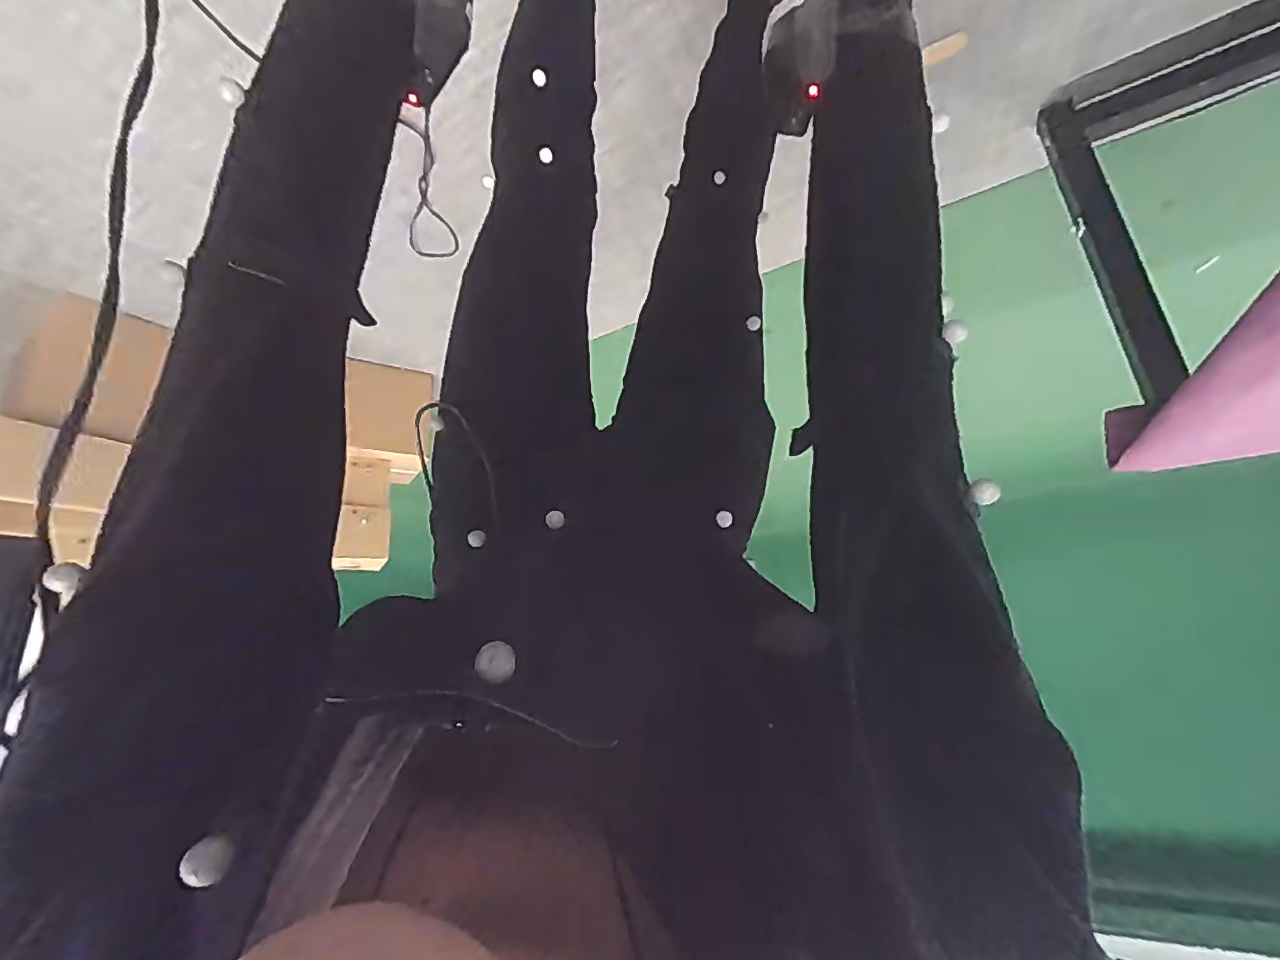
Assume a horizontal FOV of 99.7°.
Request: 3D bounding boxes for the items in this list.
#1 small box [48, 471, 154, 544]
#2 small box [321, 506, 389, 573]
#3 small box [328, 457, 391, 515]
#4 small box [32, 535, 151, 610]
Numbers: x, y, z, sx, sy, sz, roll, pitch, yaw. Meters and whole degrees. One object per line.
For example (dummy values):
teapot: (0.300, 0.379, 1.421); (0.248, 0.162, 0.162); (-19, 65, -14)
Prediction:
small box: (-1.424, 0.084, 1.438); (0.168, 0.176, 0.179); (11, 157, -36)
small box: (-0.891, 0.190, 1.693); (0.168, 0.176, 0.179); (7, 157, -33)
small box: (-0.910, 0.039, 1.755); (0.168, 0.176, 0.179); (5, 159, -28)
small box: (-1.406, 0.243, 1.401); (0.168, 0.176, 0.179); (7, 159, -30)
